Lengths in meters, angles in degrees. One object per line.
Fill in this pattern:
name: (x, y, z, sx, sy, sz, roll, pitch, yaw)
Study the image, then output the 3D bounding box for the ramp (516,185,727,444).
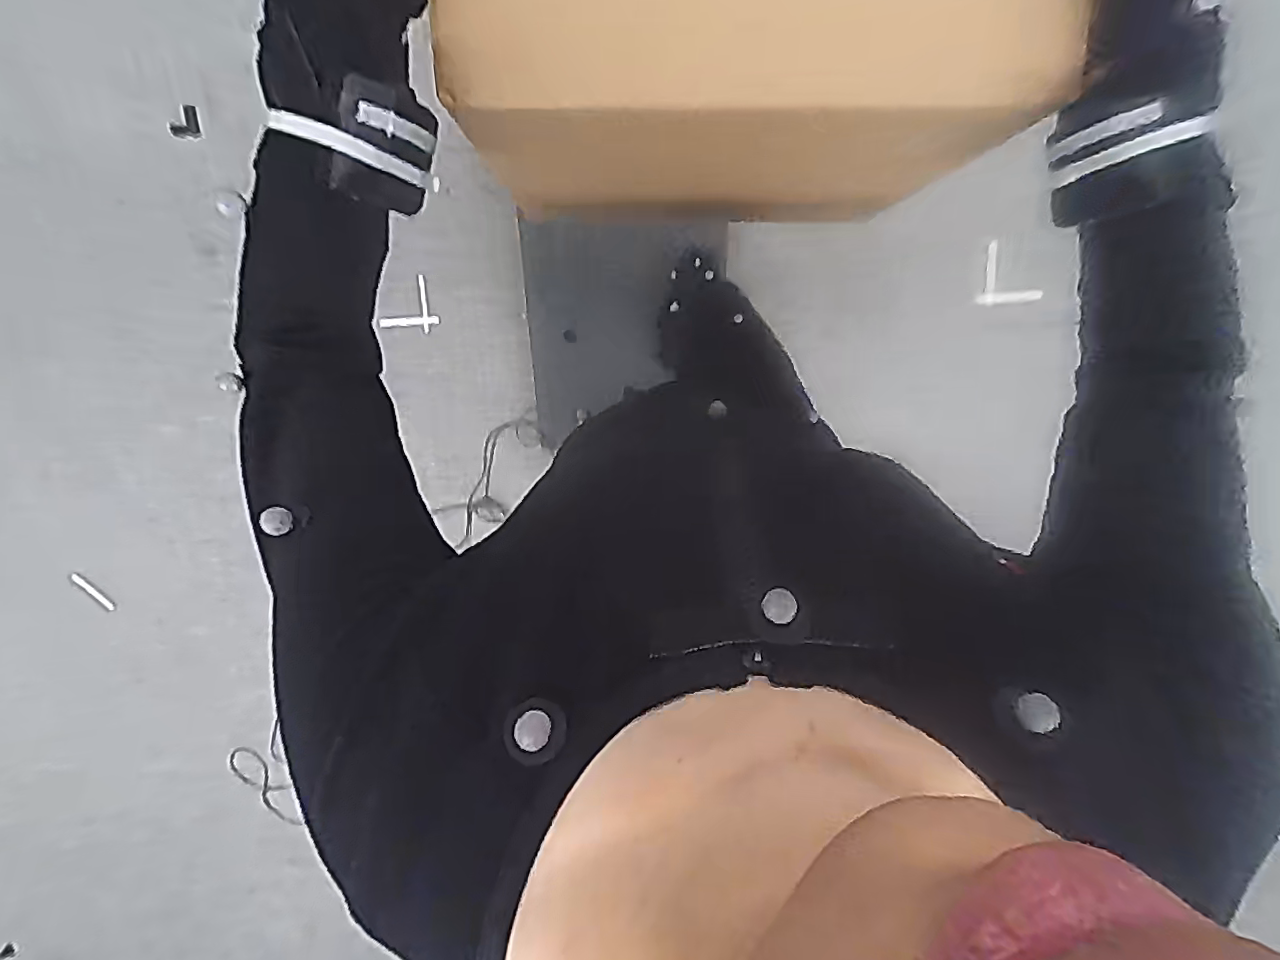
ramp: (-0.035, -0.571, 1.285, 0.509, 0.206, 0.991, -4, 102, -2)

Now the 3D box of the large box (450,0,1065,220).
large box: (0.070, -0.434, 0.470, 0.408, 0.320, 0.320, -1, 103, -1)
